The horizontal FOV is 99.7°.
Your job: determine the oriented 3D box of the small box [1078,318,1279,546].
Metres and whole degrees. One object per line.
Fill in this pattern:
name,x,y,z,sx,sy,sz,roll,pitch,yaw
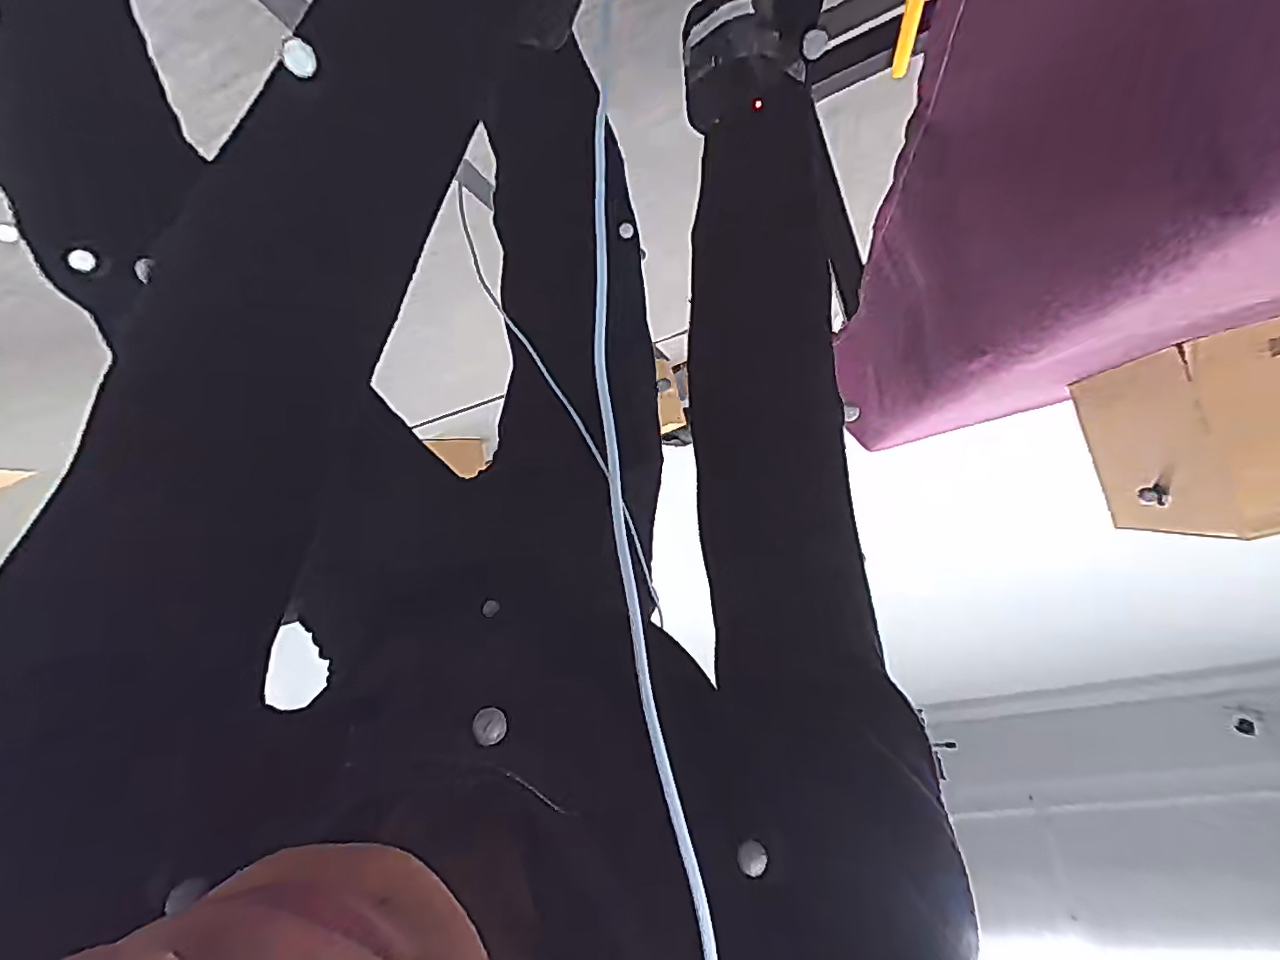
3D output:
small box,0.543,-0.046,0.491,0.168,0.176,0.179,-15,175,13
